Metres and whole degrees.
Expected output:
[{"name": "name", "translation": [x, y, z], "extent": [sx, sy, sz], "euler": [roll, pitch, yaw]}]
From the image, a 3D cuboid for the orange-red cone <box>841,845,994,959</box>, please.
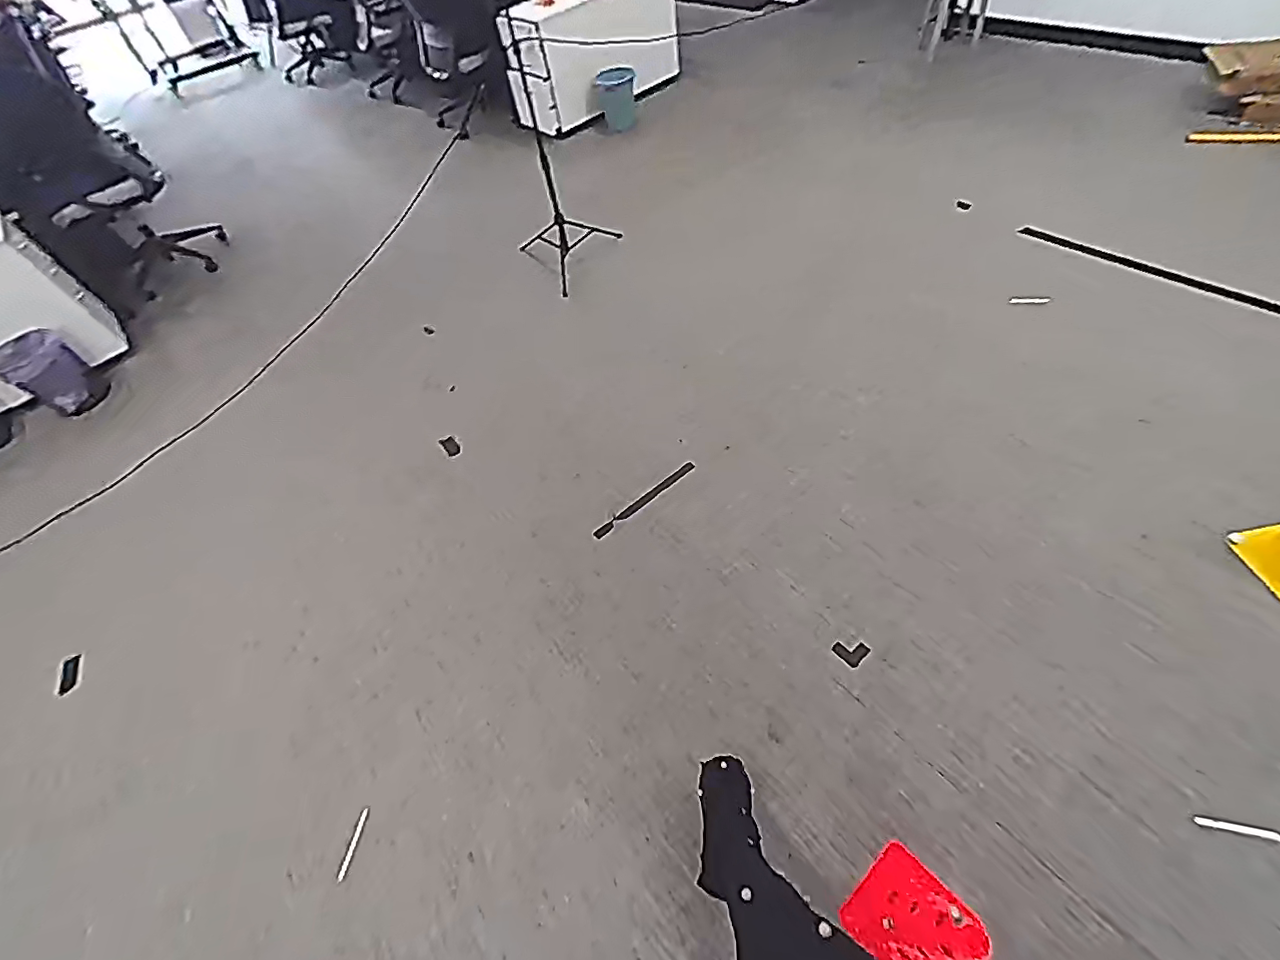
[{"name": "orange-red cone", "translation": [0.497, 0.749, 0.899], "extent": [0.199, 0.360, 0.198], "euler": [-38, 57, -19]}]
